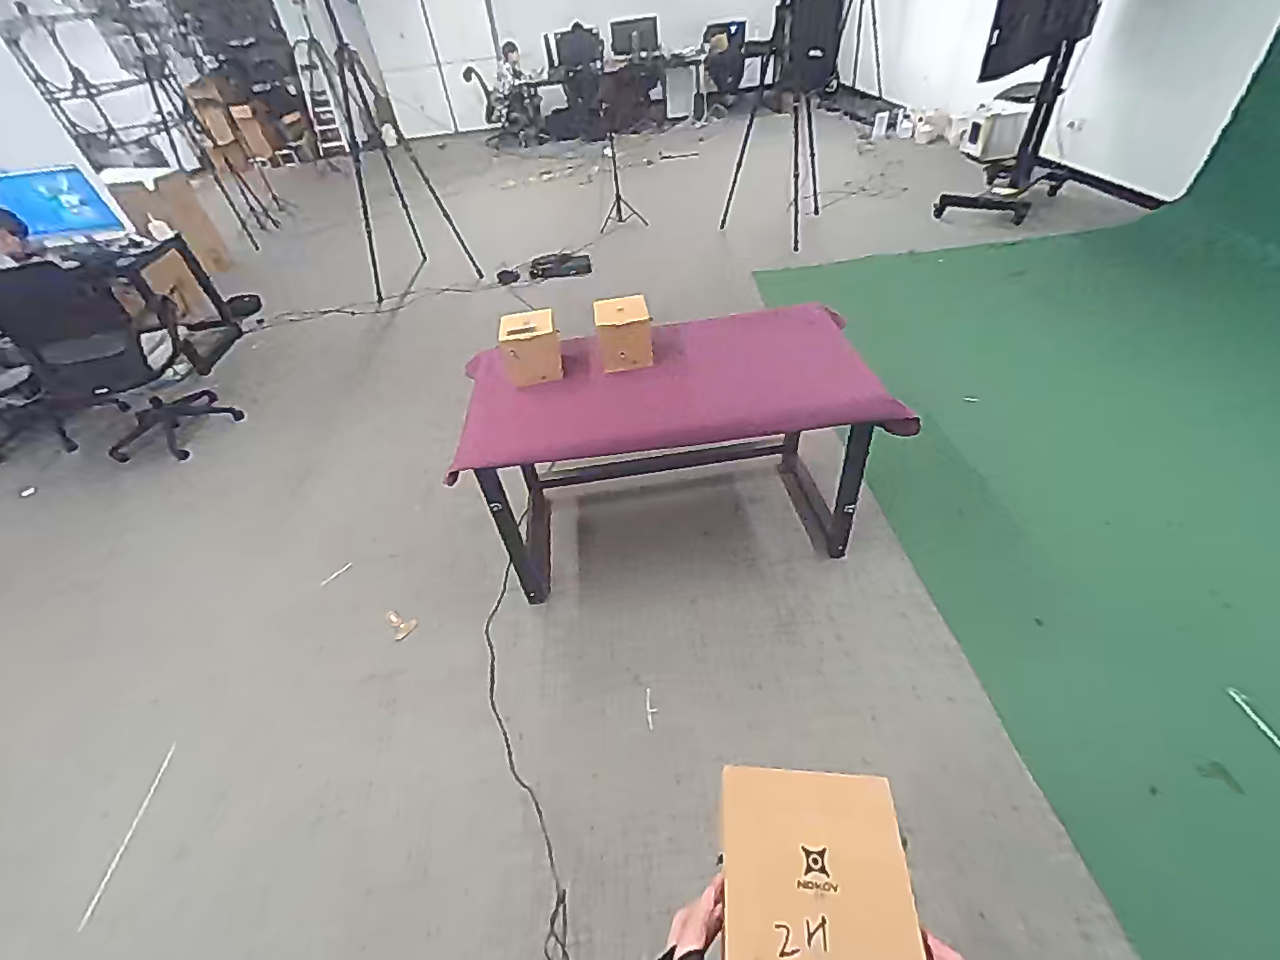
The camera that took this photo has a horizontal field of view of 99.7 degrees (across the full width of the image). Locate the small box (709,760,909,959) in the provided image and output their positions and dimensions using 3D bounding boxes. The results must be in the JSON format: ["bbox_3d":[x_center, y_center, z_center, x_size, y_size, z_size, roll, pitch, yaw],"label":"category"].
[{"bbox_3d":[0.156,0.415,0.554,0.168,0.176,0.179,0,45,8],"label":"small box"}]

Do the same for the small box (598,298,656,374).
[{"bbox_3d":[-0.043,-0.467,1.757,0.168,0.176,0.179,-9,44,0],"label":"small box"}]
